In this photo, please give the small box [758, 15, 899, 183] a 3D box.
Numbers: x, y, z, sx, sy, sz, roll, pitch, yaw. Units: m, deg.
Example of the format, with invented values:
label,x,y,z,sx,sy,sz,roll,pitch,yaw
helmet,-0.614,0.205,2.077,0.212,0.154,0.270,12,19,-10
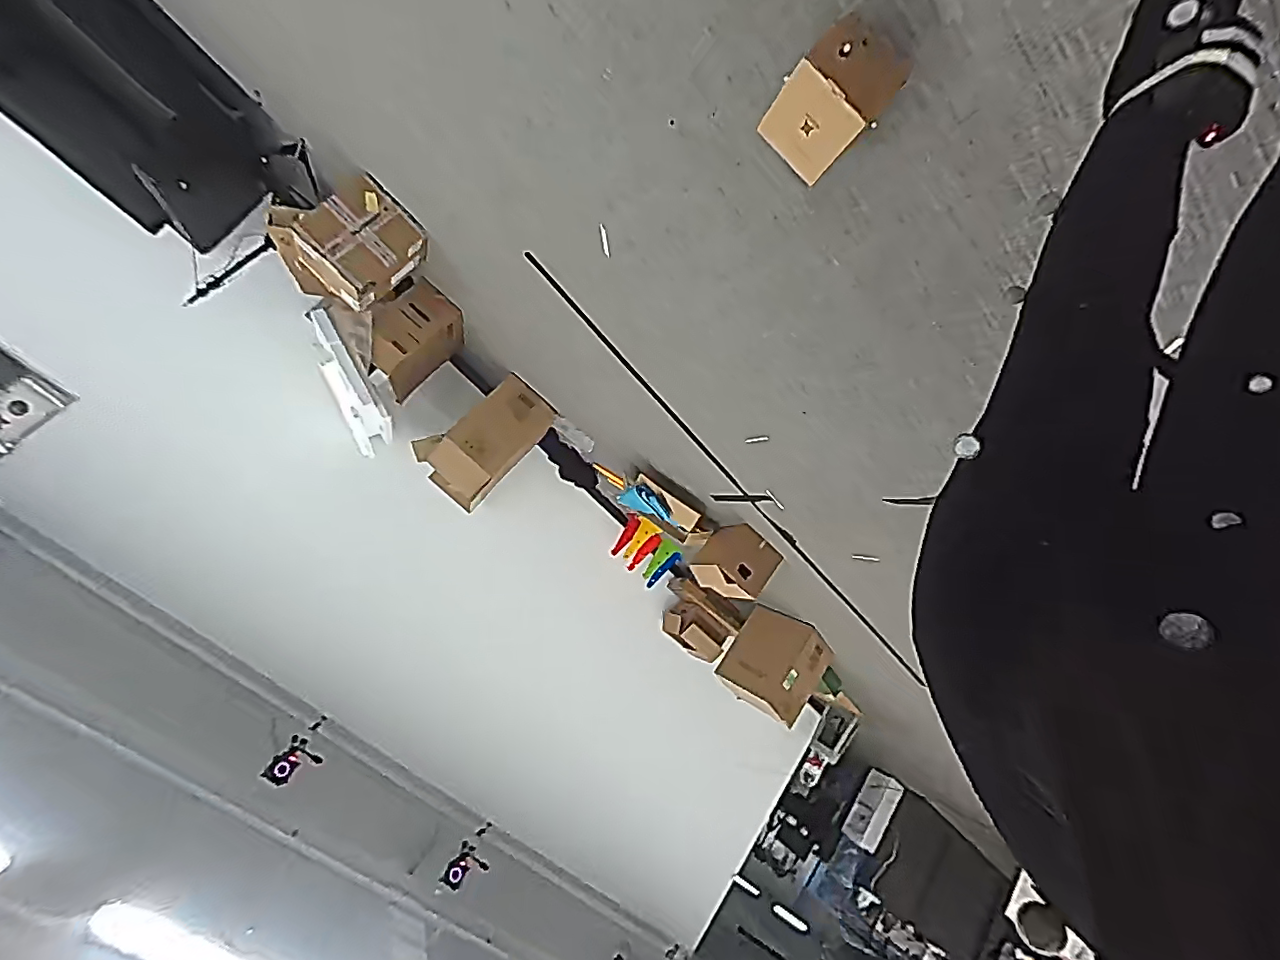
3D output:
label,x,y,z,sx,sy,sz,roll,pitch,yaw
small box,0.371,-0.739,1.053,0.168,0.176,0.179,42,162,-5
